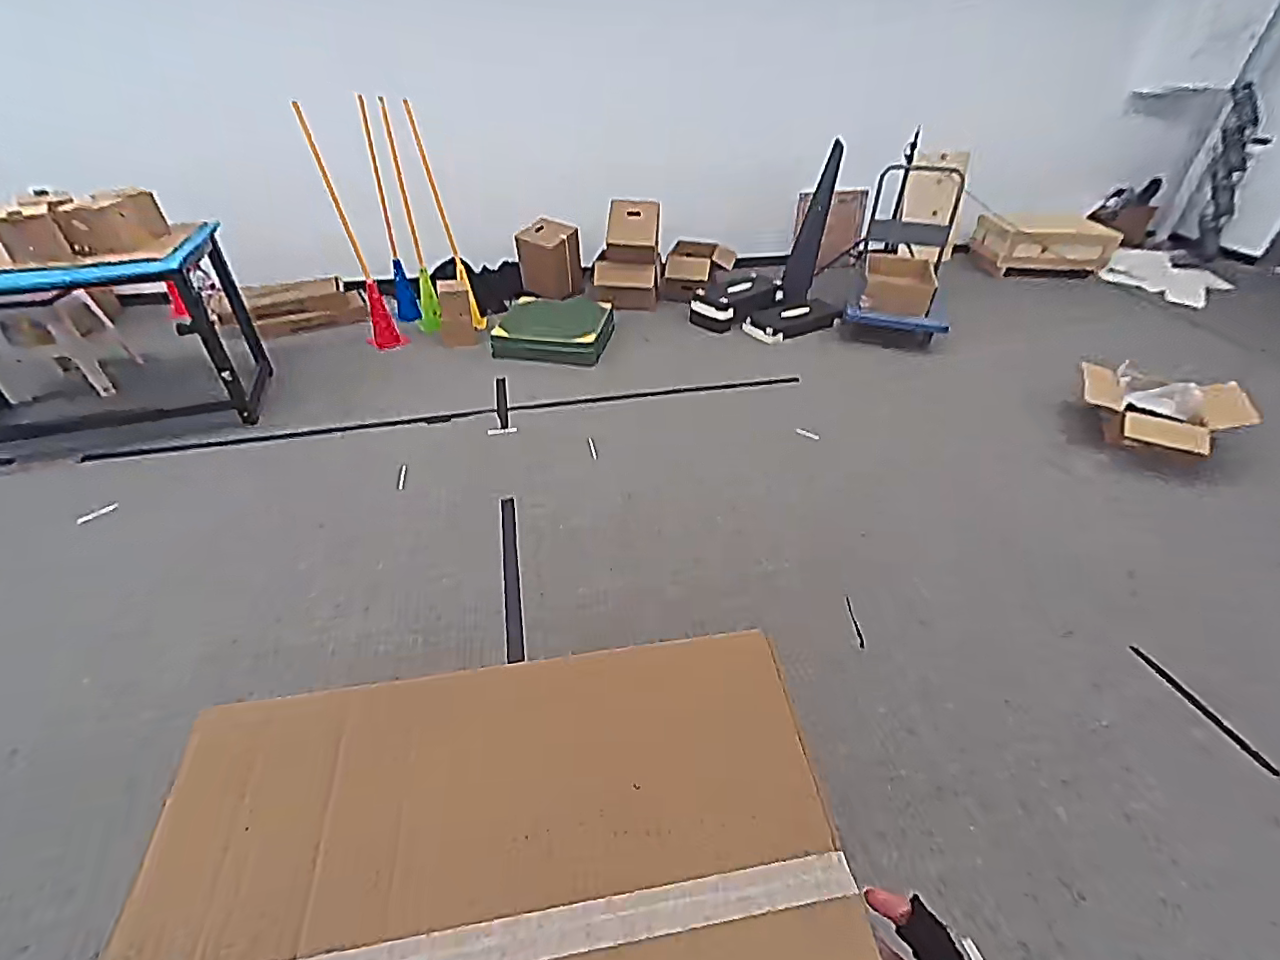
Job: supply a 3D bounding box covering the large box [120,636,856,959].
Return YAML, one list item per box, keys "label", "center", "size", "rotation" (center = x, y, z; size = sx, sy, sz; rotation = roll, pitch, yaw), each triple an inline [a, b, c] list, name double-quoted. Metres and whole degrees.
- label: "large box"
  center: [-0.083, 0.355, 0.412]
  size: [0.408, 0.320, 0.320]
  rotation: [-6, 47, -6]
